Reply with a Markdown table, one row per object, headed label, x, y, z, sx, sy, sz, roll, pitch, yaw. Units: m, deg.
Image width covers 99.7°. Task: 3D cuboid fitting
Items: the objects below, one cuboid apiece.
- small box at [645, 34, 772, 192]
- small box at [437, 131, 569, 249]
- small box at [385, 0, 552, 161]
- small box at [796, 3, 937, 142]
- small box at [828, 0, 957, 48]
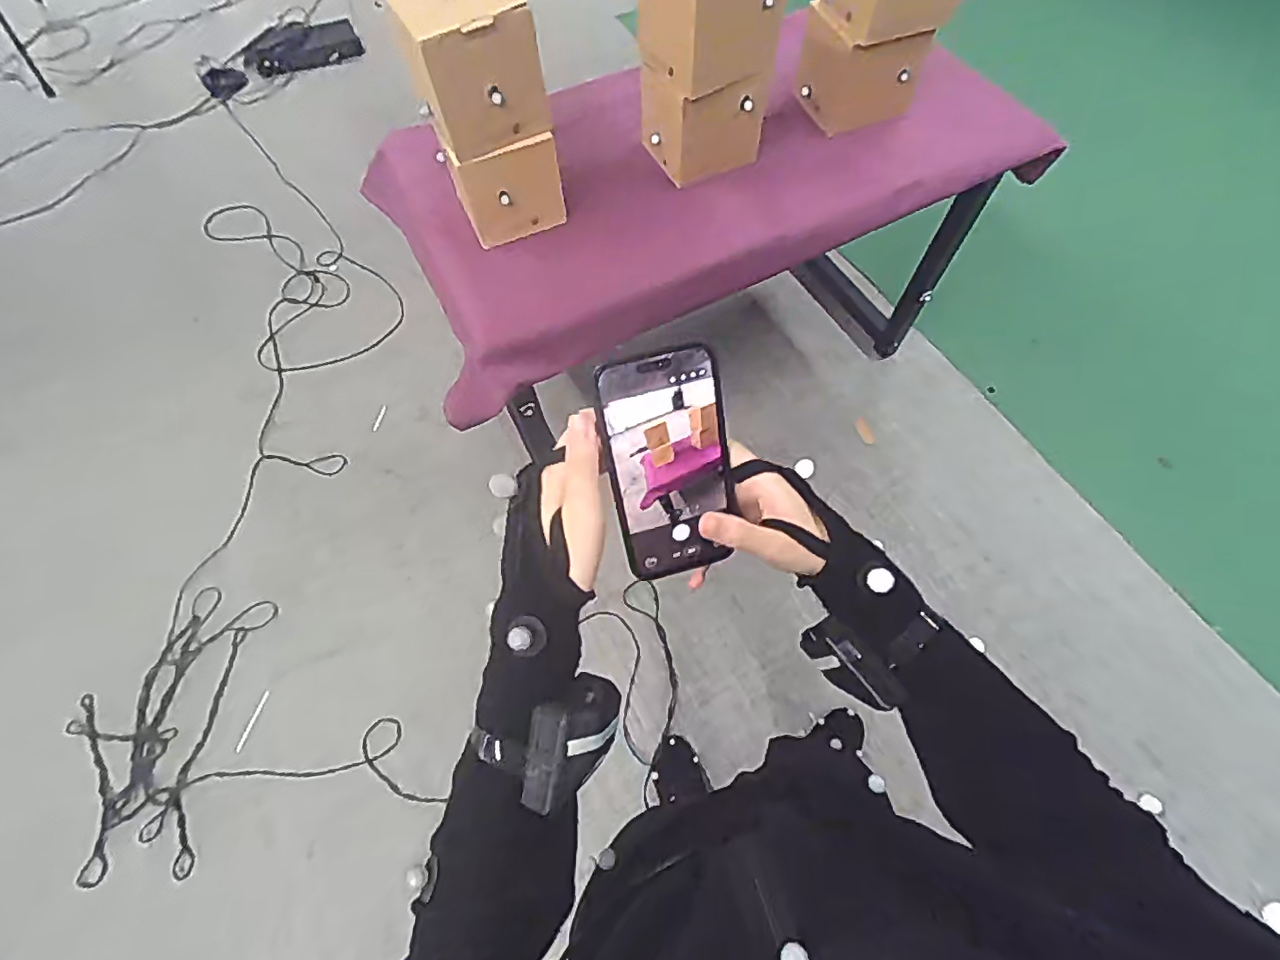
| label | x | y | z | sx | sy | sz | roll | pitch | yaw |
| --- | --- | --- | --- | --- | --- | --- | --- | --- | --- |
| small box | 0.120 | -0.687 | 1.022 | 0.179 | 0.176 | 0.168 | -24 | 65 | -9 |
| small box | -0.241 | -0.546 | 0.973 | 0.168 | 0.176 | 0.179 | -24 | 65 | -8 |
| small box | -0.252 | -0.624 | 0.829 | 0.168 | 0.176 | 0.179 | -28 | 67 | -11 |
| small box | 0.434 | -0.812 | 1.069 | 0.179 | 0.176 | 0.168 | -18 | 64 | -6 |
| small box | 0.441 | -0.875 | 0.917 | 0.179 | 0.176 | 0.168 | -19 | 64 | -7 |
